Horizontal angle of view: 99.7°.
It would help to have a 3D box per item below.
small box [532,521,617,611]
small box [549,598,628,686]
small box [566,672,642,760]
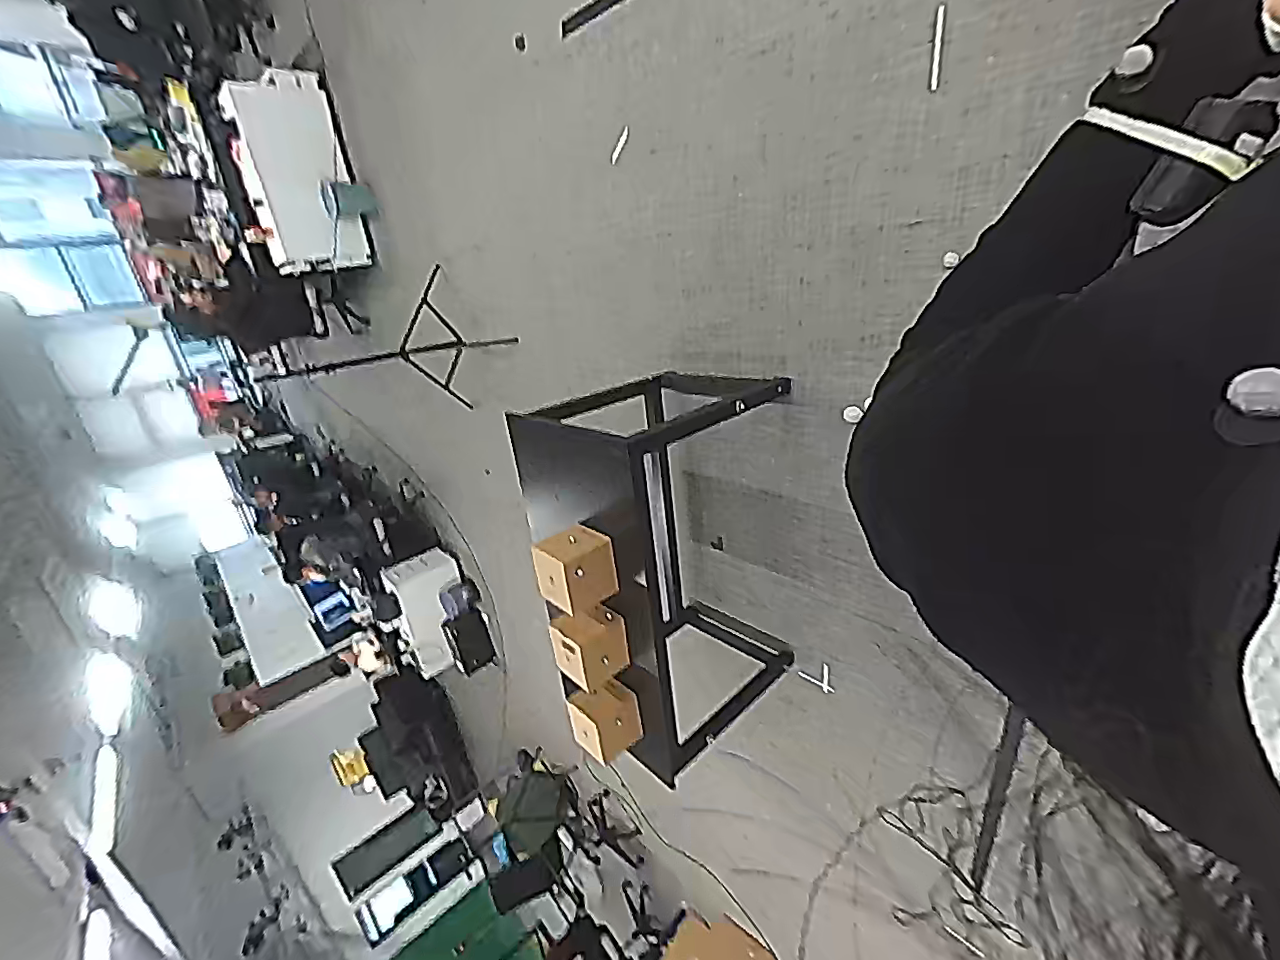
[{"bbox_3d":[-0.186,0.238,1.560,0.168,0.176,0.179,18,124,46],"label":"small box"},{"bbox_3d":[-0.155,0.486,1.663,0.168,0.176,0.179,19,125,45],"label":"small box"},{"bbox_3d":[-0.115,0.759,1.769,0.168,0.176,0.179,16,122,48],"label":"small box"}]
